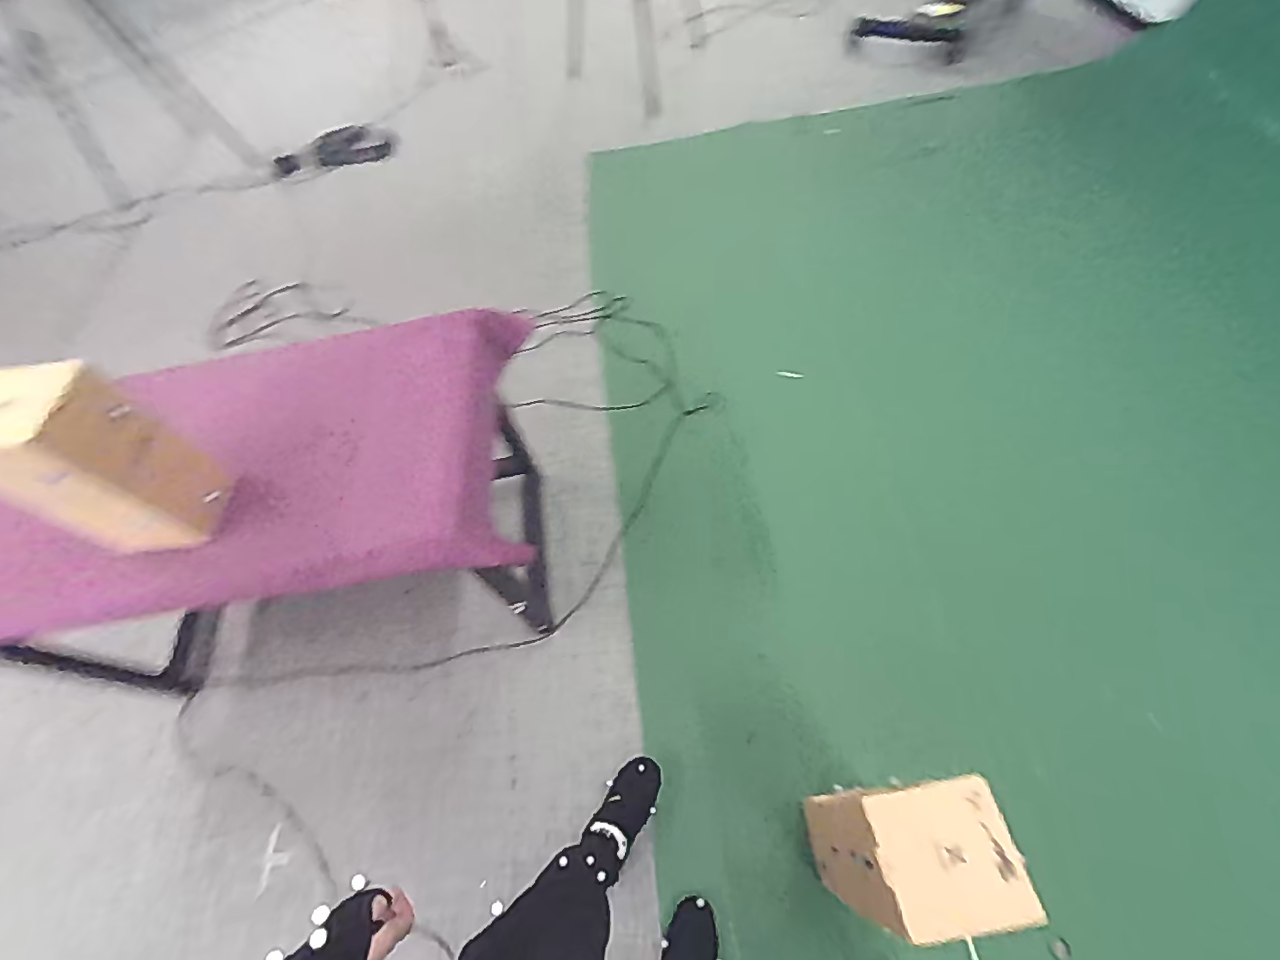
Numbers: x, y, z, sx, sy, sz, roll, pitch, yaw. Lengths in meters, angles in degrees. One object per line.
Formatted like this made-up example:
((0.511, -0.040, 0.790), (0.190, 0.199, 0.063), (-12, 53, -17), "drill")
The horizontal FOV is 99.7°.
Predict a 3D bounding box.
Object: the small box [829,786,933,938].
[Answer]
((0.436, 0.636, 0.915), (0.168, 0.176, 0.179), (-13, 58, 1), "small box")

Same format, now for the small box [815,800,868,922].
((0.455, 0.725, 1.051), (0.168, 0.176, 0.179), (-11, 57, 1), "small box")

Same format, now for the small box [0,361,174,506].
((-0.935, -0.071, 0.888), (0.179, 0.176, 0.168), (-5, 57, 4), "small box")

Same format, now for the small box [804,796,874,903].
((0.472, 0.804, 1.192), (0.168, 0.176, 0.179), (-9, 58, 3), "small box")

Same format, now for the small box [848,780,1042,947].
((0.416, 0.545, 0.781), (0.179, 0.176, 0.168), (-12, 57, 3), "small box")
